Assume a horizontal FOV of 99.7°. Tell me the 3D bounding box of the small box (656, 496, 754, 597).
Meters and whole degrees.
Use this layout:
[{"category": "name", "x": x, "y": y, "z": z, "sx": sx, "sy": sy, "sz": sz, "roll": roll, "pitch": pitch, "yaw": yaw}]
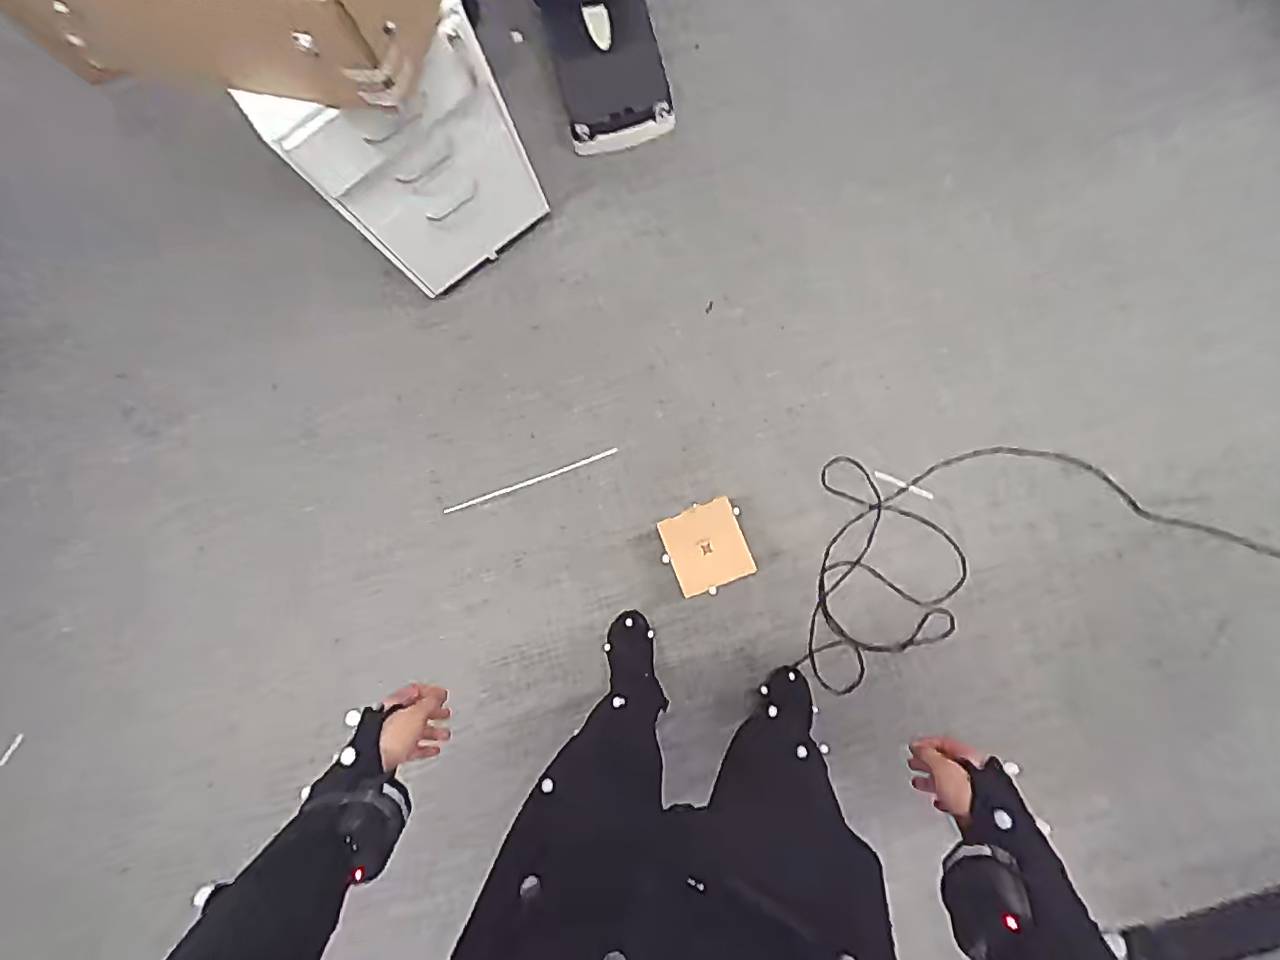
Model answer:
[{"category": "small box", "x": 0.149, "y": 0.152, "z": 1.240, "sx": 0.168, "sy": 0.176, "sz": 0.179, "roll": -23, "pitch": 80, "yaw": 3}]
